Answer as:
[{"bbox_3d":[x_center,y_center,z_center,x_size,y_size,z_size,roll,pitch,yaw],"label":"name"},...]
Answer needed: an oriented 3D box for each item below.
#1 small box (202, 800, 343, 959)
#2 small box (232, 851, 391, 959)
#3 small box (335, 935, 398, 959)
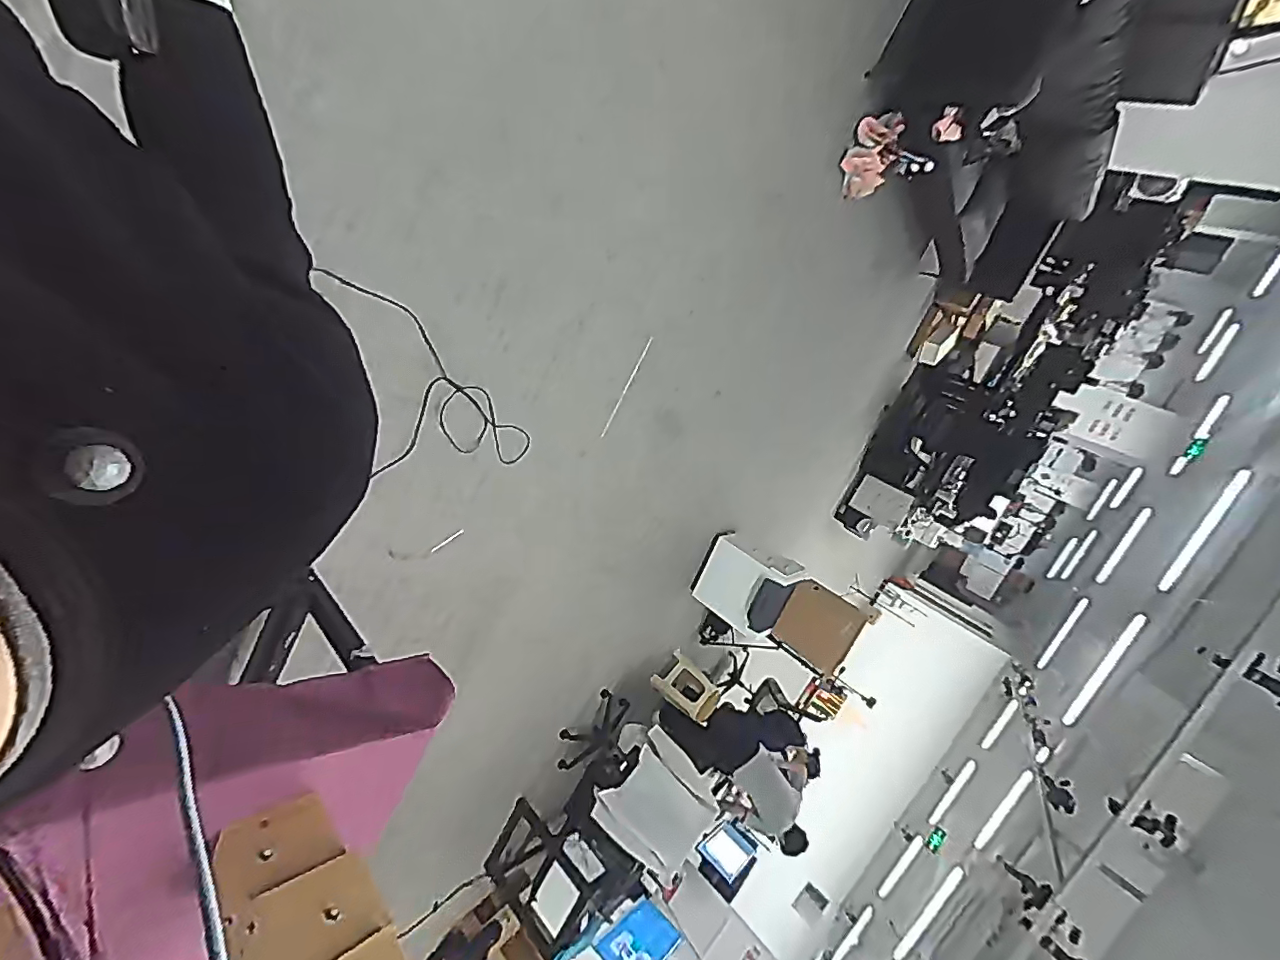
[{"bbox_3d":[-0.701,0.751,1.028,0.168,0.176,0.179,5,114,-53],"label":"small box"},{"bbox_3d":[-0.574,0.805,0.937,0.179,0.176,0.168,4,114,-53],"label":"small box"},{"bbox_3d":[-0.461,0.870,0.840,0.168,0.176,0.179,-1,119,-51],"label":"small box"}]
